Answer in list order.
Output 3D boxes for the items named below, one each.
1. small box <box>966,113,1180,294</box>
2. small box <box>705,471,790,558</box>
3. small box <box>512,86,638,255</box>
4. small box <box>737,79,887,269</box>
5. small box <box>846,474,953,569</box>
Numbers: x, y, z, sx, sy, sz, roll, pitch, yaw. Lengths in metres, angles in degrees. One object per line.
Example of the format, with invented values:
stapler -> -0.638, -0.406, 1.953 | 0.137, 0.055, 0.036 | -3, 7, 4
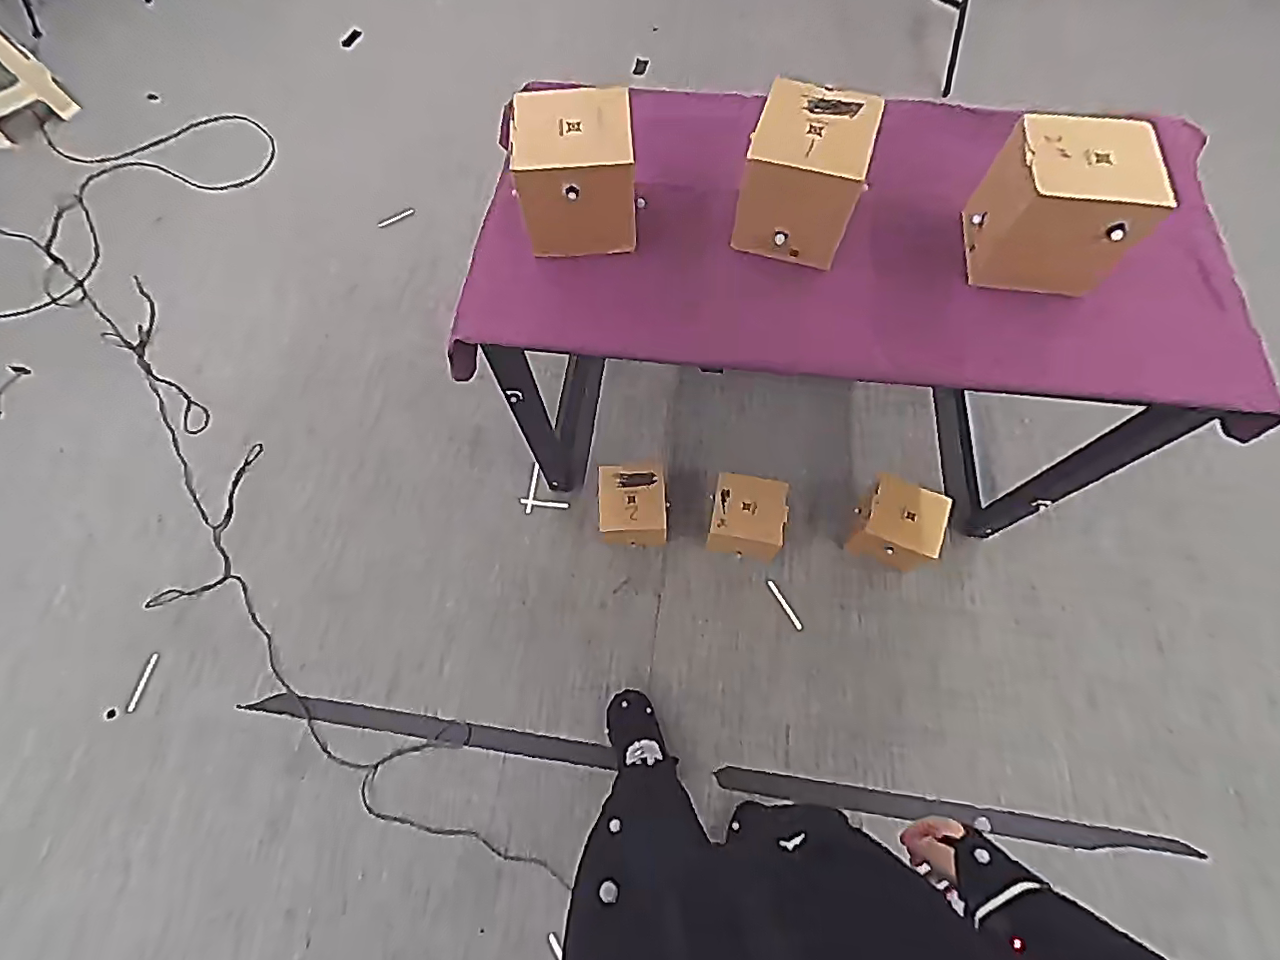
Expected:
small box -> 0.617, -0.398, 0.796 | 0.179, 0.176, 0.168 | 8, 67, 6
small box -> 0.273, 0.096, 1.395 | 0.179, 0.176, 0.168 | 10, 69, 6
small box -> -0.095, -0.479, 0.854 | 0.179, 0.176, 0.168 | -4, 69, -1
small box -> 0.256, -0.466, 0.837 | 0.168, 0.176, 0.179 | 17, 70, 9
small box -> 0.653, 0.114, 1.376 | 0.179, 0.176, 0.168 | 22, 71, 12
